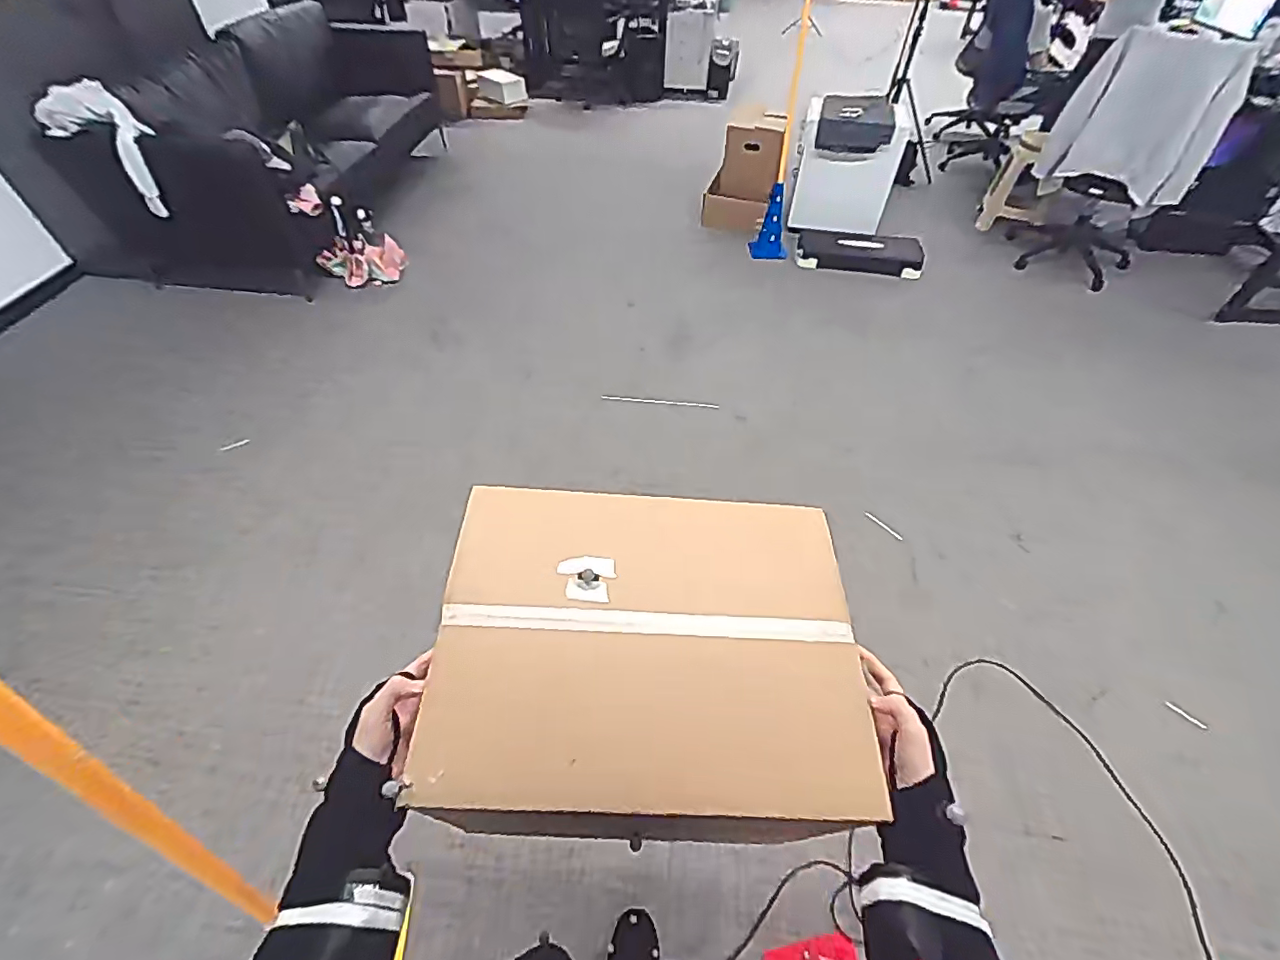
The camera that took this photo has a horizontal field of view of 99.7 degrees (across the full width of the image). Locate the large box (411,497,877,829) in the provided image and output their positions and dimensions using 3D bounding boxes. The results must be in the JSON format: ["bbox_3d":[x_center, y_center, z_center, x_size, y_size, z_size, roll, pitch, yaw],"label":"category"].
[{"bbox_3d":[0.000,0.238,0.661,0.408,0.320,0.320,3,53,-3],"label":"large box"}]
